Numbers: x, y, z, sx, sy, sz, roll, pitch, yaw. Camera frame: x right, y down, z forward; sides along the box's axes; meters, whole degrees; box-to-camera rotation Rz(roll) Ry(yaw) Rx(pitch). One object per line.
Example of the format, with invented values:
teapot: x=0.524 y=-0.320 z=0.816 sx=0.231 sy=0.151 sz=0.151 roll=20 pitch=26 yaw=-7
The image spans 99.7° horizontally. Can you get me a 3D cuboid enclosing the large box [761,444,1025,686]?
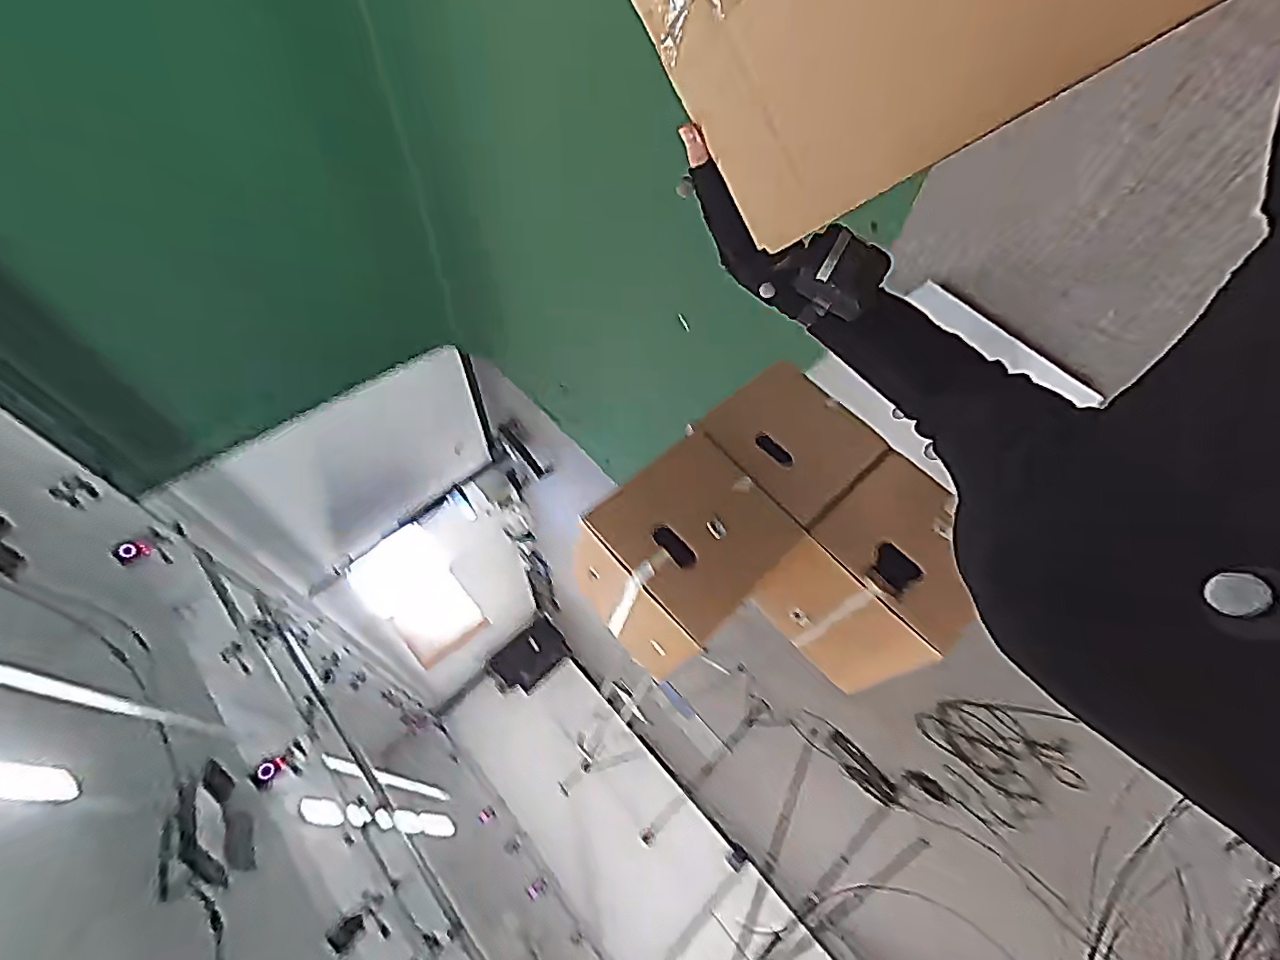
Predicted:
large box: x=0.526 y=0.198 z=1.198 sx=0.320 sy=0.320 sz=0.408 roll=45 pitch=156 yaw=19
